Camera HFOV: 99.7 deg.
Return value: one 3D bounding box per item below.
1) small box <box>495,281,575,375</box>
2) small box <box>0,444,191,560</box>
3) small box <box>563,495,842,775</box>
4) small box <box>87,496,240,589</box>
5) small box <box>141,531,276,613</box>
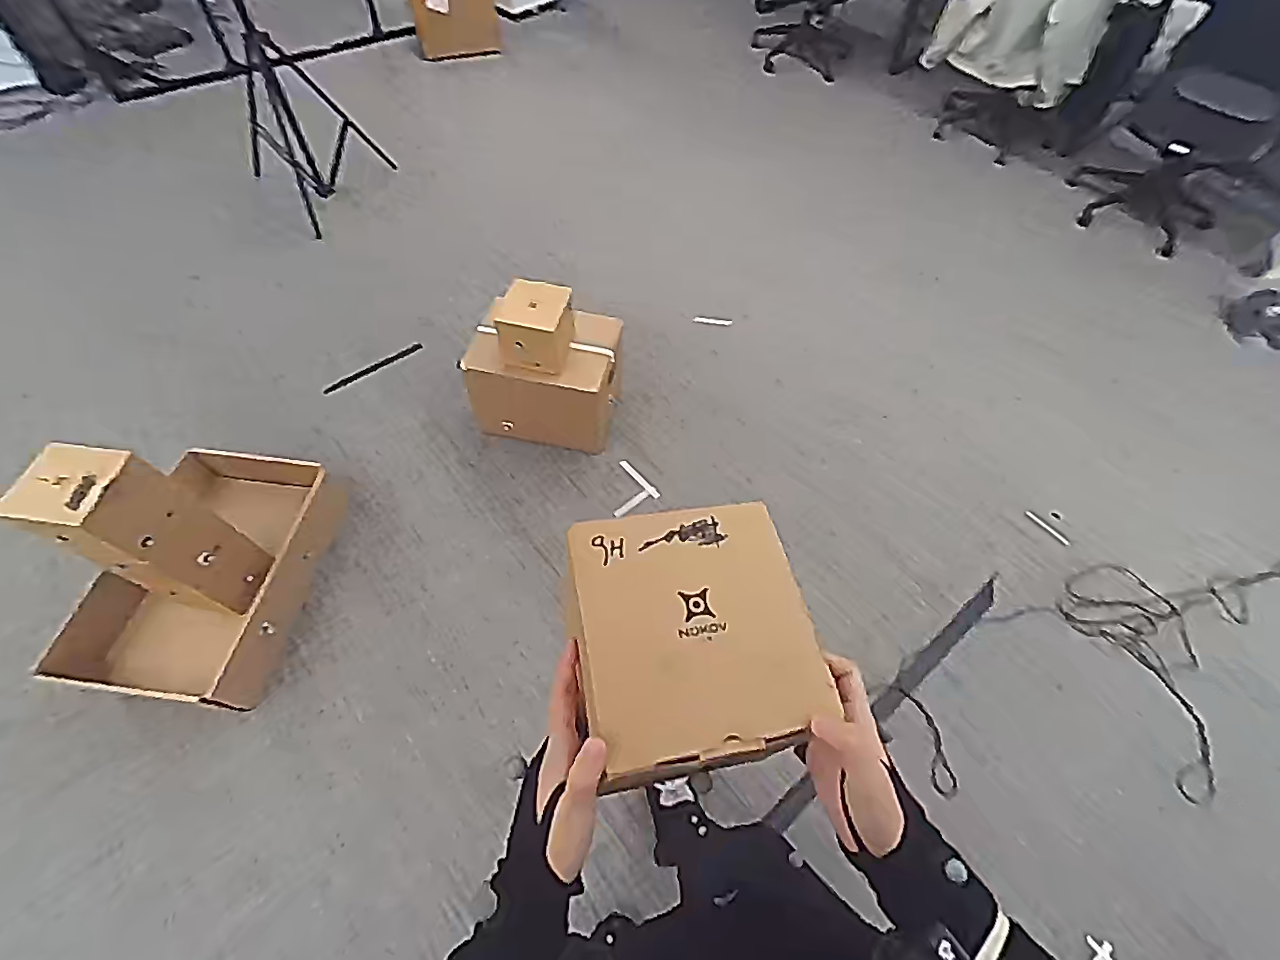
[{"bbox_3d":[-0.281,-0.417,1.500,0.168,0.176,0.179,12,58,4],"label":"small box"},{"bbox_3d":[-1.074,0.050,1.088,0.179,0.176,0.168,7,58,3],"label":"small box"},{"bbox_3d":[0.029,0.134,0.451,0.168,0.176,0.179,-5,58,-15],"label":"small box"},{"bbox_3d":[-1.075,0.136,1.228,0.179,0.176,0.168,9,59,2],"label":"small box"},{"bbox_3d":[-1.080,0.224,1.365,0.179,0.176,0.168,10,58,3],"label":"small box"}]
